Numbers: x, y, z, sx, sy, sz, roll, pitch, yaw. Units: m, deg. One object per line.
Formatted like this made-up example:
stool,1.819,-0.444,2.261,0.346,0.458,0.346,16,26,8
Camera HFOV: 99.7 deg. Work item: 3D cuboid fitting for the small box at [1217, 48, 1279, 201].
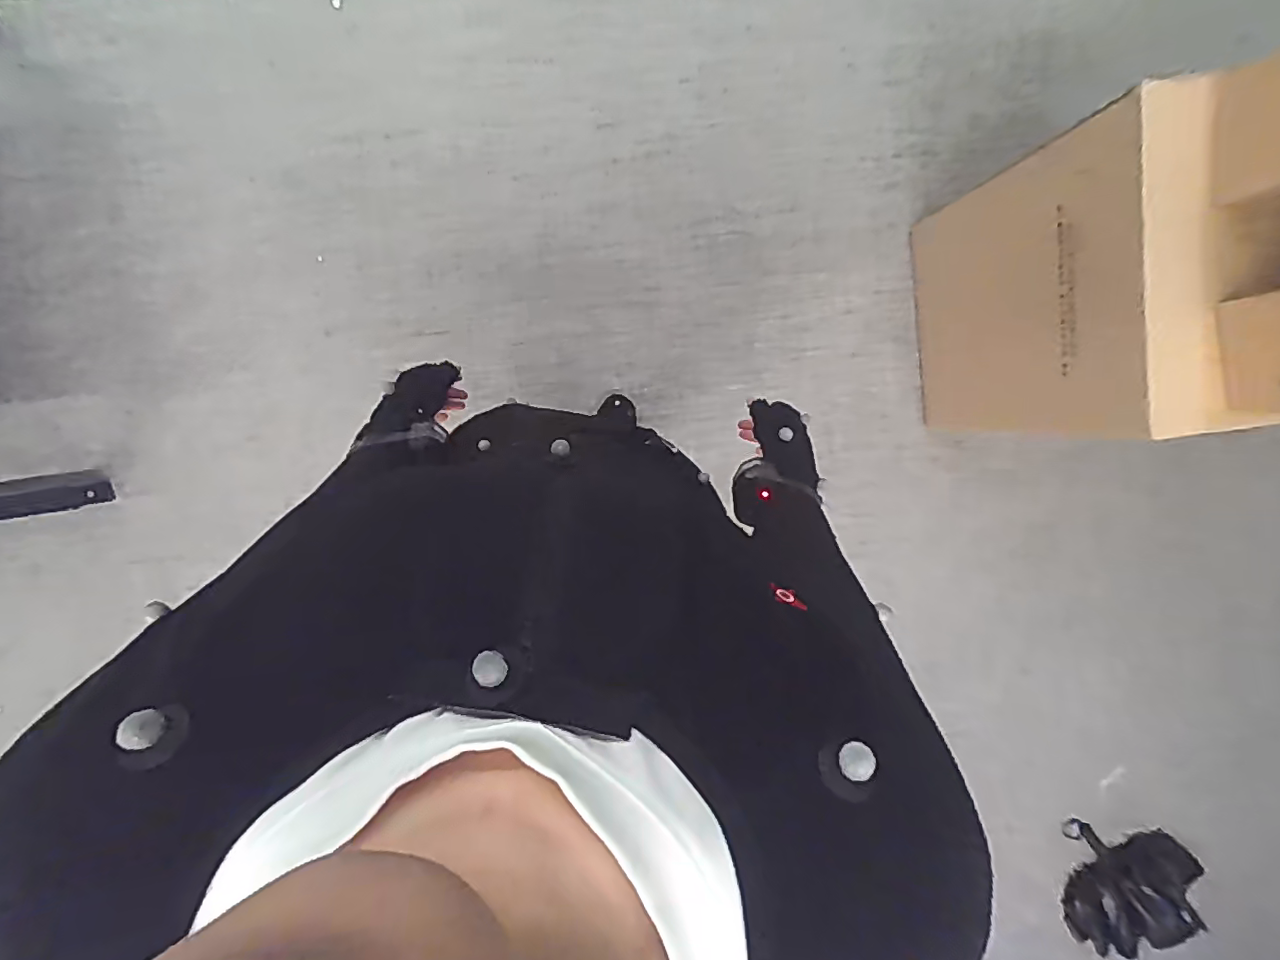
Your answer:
small box,0.924,-0.492,0.707,0.168,0.176,0.179,-4,98,1

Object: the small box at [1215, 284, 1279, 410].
small box,0.971,-0.198,0.749,0.168,0.176,0.179,-16,96,0
